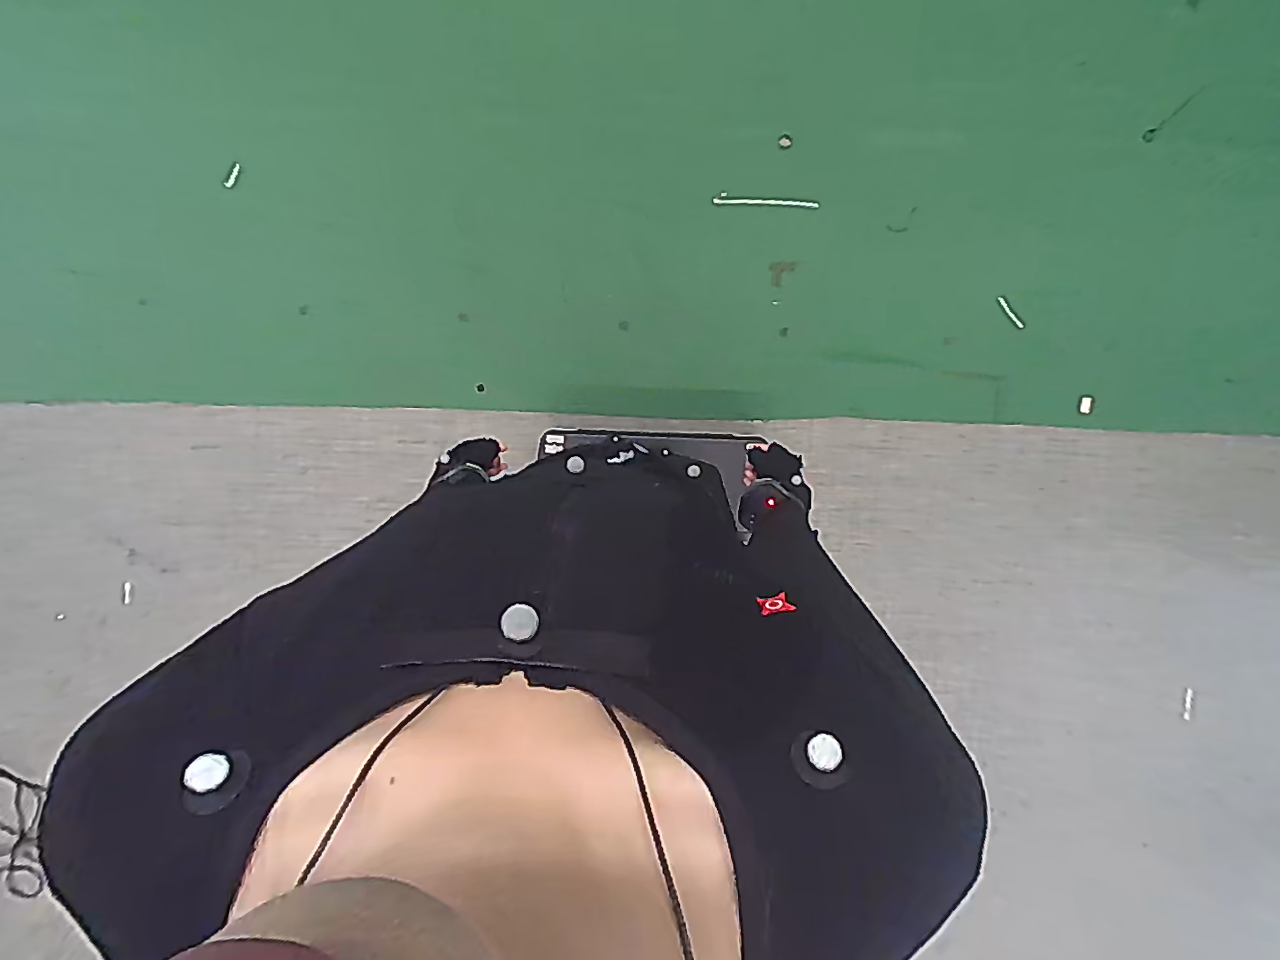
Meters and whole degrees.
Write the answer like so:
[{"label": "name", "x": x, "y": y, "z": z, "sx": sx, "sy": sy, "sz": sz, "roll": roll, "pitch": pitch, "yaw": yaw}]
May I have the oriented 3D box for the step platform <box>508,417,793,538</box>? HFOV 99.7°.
[{"label": "step platform", "x": 0.025, "y": -0.013, "z": 1.389, "sx": 0.684, "sy": 0.204, "sz": 0.286, "roll": 1, "pitch": 95, "yaw": 1}]
